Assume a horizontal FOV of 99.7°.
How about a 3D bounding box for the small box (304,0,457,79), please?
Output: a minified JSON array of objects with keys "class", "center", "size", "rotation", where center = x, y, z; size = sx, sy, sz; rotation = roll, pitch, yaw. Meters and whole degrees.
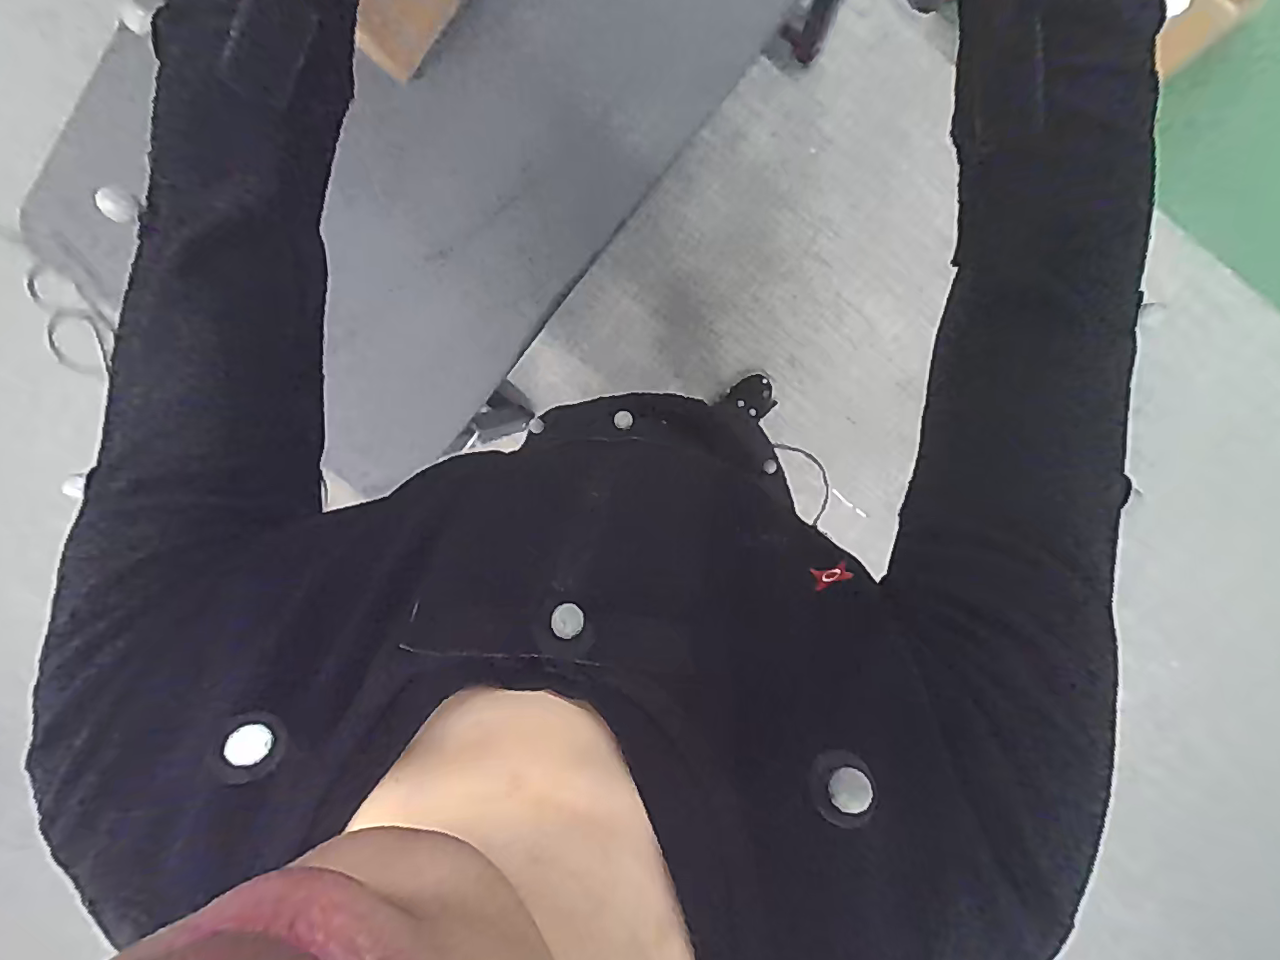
[{"class":"small box","center":[-0.304,-0.588,0.567],"size":[0.168,0.176,0.179],"rotation":[41,100,-4]}]
